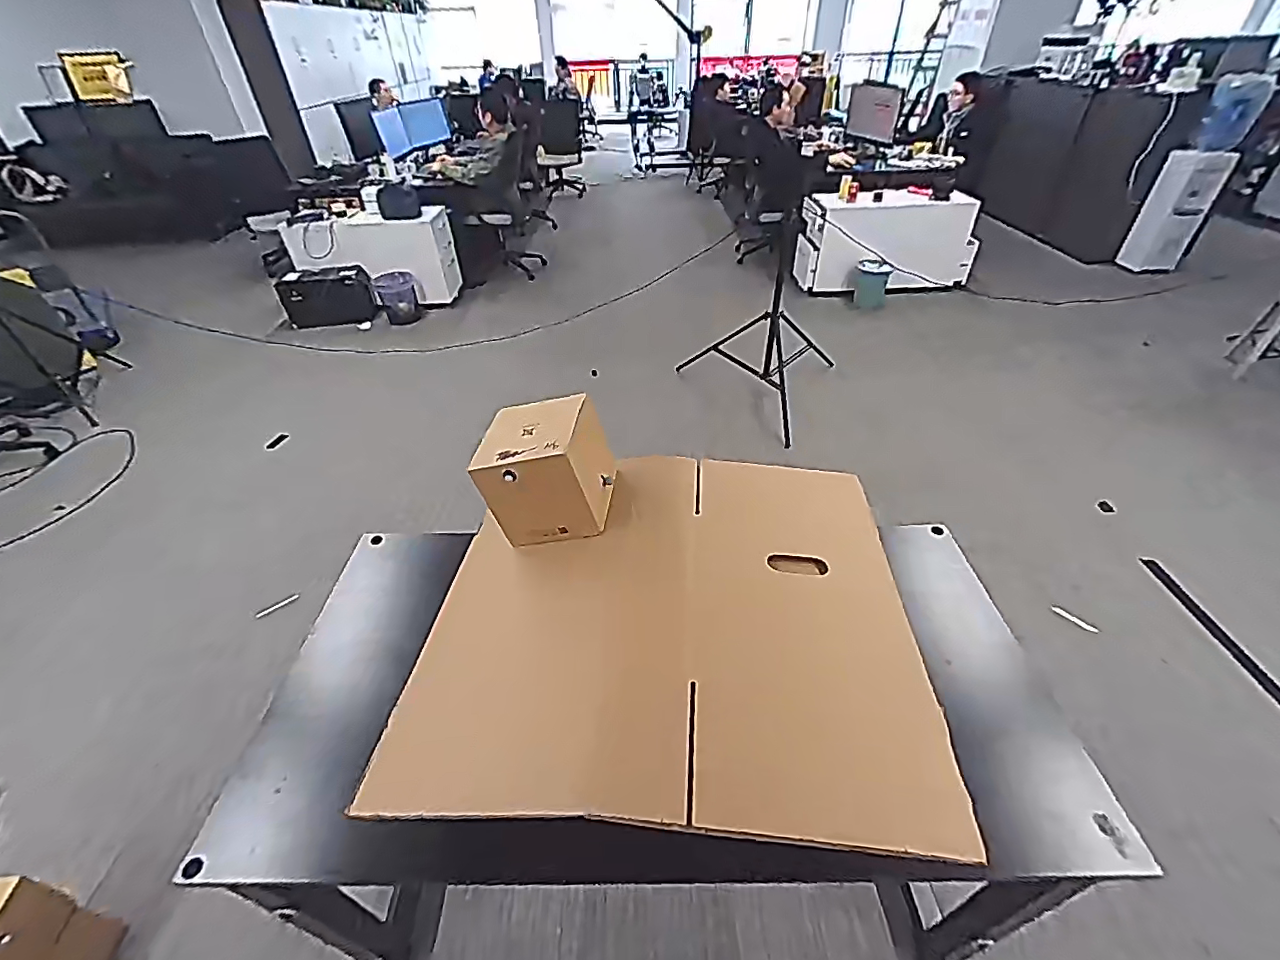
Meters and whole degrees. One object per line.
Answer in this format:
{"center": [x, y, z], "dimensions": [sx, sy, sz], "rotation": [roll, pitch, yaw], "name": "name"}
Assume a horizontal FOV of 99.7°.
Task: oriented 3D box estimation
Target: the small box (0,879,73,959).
{"center": [-1.233, 0.877, 1.000], "dimensions": [0.168, 0.176, 0.179], "rotation": [-5, 38, -5], "name": "small box"}

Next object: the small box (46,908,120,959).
{"center": [-1.227, 1.006, 1.098], "dimensions": [0.168, 0.176, 0.179], "rotation": [-4, 40, -2], "name": "small box"}

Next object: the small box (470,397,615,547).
{"center": [-0.149, -0.013, 0.906], "dimensions": [0.168, 0.176, 0.179], "rotation": [-10, 36, 15], "name": "small box"}
